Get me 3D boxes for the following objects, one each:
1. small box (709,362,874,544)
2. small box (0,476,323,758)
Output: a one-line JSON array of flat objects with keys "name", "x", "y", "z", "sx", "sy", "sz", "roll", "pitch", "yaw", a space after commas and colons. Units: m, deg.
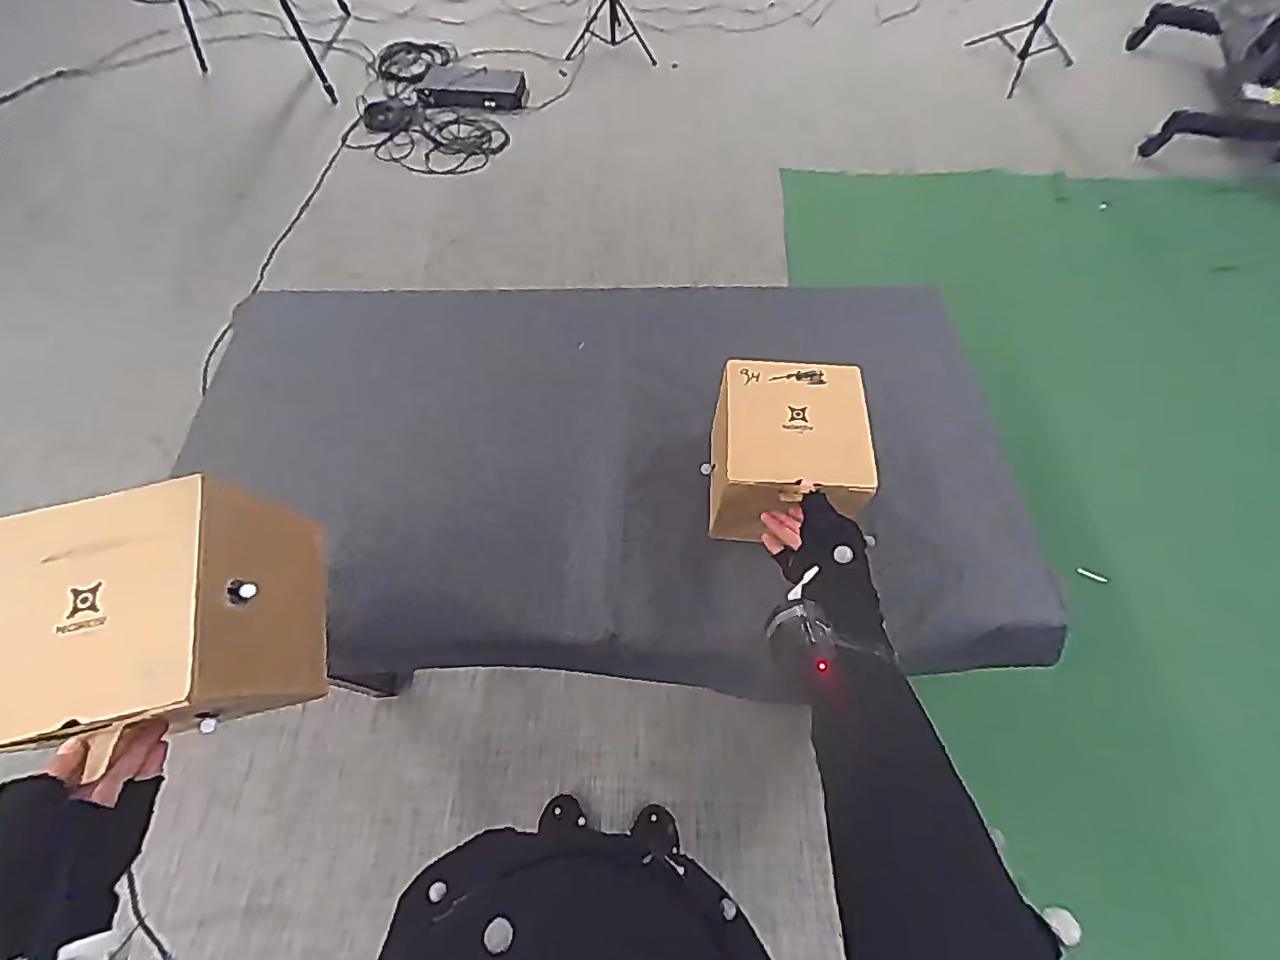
[{"name": "small box", "x": 0.182, "y": -0.028, "z": 0.699, "sx": 0.168, "sy": 0.176, "sz": 0.179, "roll": 4, "pitch": 63, "yaw": 2}, {"name": "small box", "x": -0.400, "y": 0.120, "z": 0.466, "sx": 0.168, "sy": 0.176, "sz": 0.179, "roll": -13, "pitch": 69, "yaw": -4}]
